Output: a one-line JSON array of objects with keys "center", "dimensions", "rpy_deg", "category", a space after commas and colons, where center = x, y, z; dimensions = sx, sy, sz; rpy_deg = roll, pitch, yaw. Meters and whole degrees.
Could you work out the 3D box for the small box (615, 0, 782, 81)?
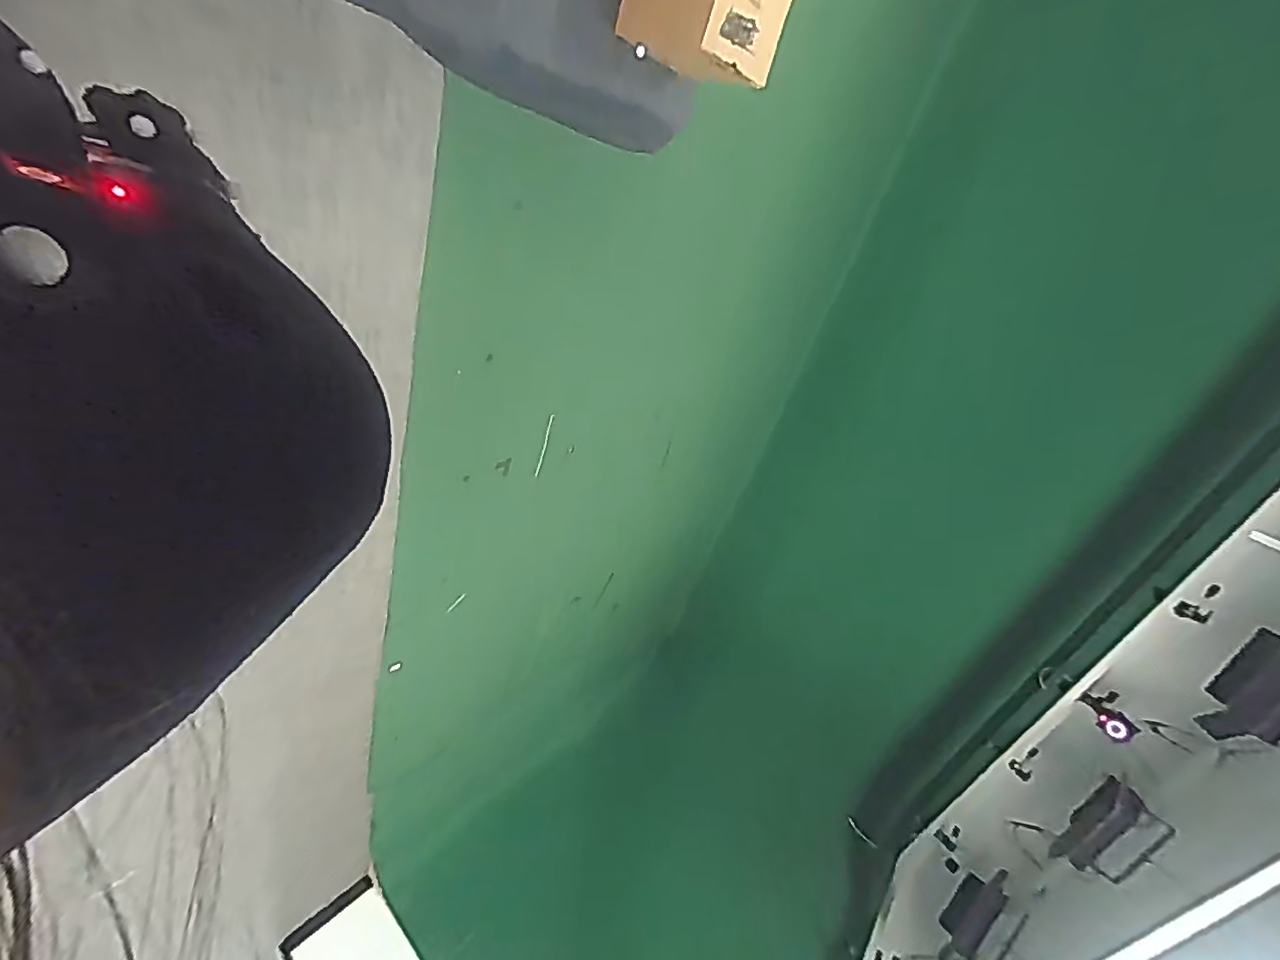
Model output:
[{"center": [0.087, -0.697, 0.751], "dimensions": [0.168, 0.176, 0.179], "rpy_deg": [-17, 134, -48], "category": "small box"}]
